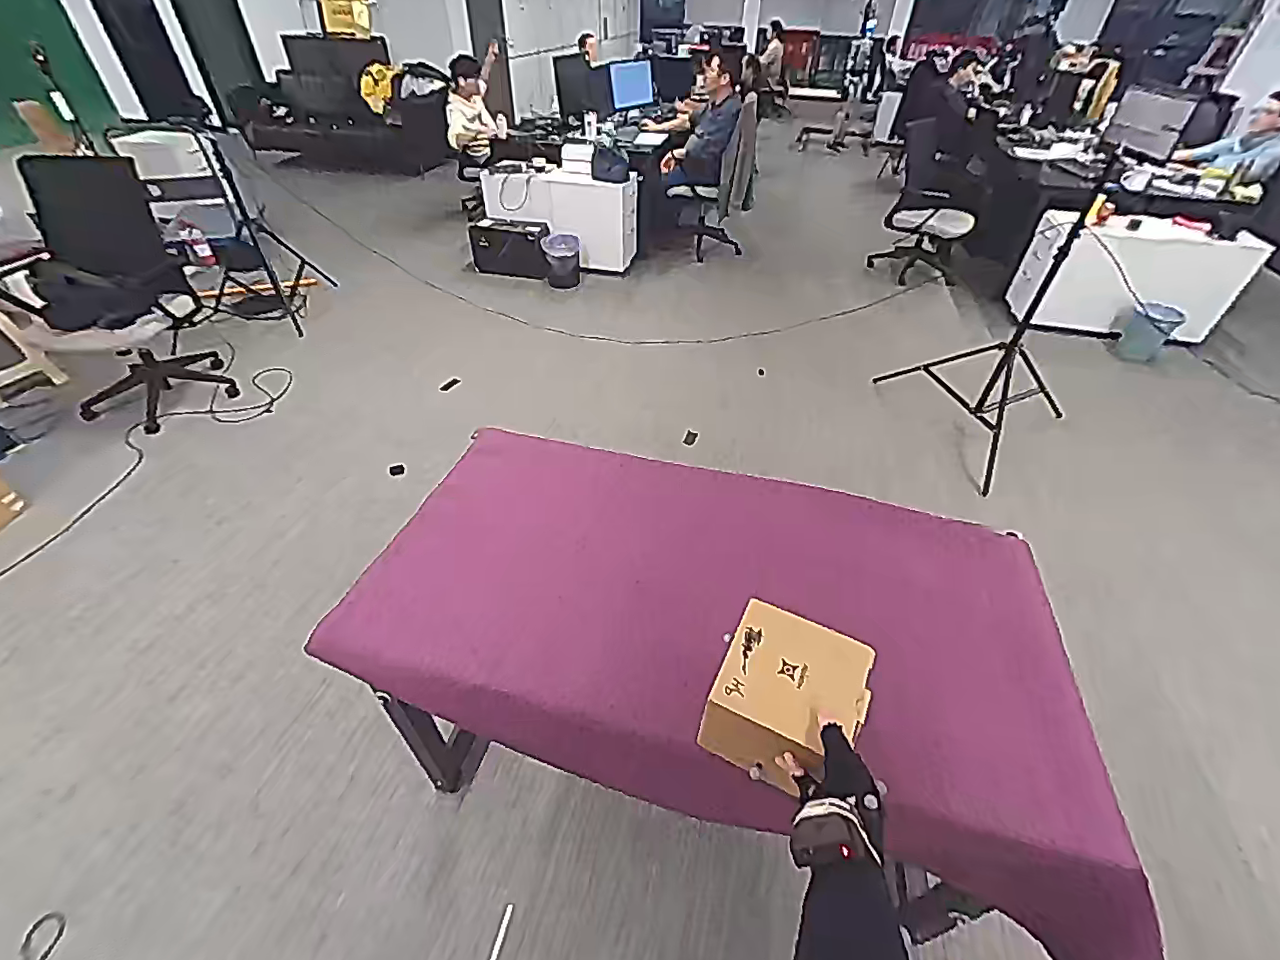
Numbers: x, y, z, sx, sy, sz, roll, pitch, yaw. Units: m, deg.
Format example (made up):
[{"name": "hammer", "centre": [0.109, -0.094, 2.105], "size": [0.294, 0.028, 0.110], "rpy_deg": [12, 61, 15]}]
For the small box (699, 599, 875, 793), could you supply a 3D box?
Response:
[{"name": "small box", "centre": [0.197, 0.304, 0.750], "size": [0.179, 0.176, 0.168], "rpy_deg": [21, 49, 18]}]
